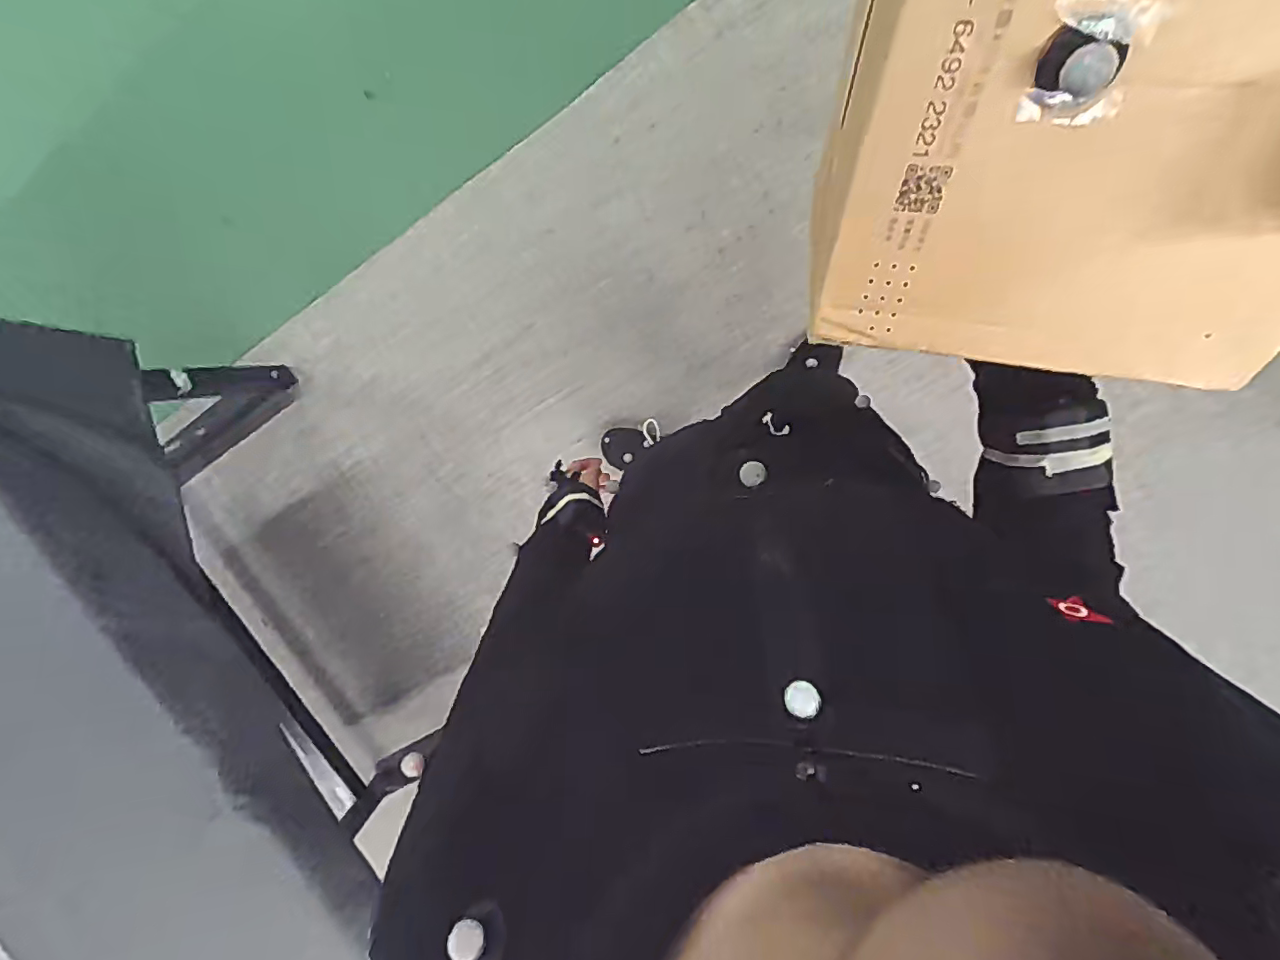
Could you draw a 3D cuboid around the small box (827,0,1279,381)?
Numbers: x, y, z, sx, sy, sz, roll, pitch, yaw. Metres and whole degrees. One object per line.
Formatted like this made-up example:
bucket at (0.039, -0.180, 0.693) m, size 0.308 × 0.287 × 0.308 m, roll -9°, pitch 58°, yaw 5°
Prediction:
small box at (0.180, -0.166, 0.216) m, size 0.176 × 0.179 × 0.168 m, roll 10°, pitch 136°, yaw 7°
